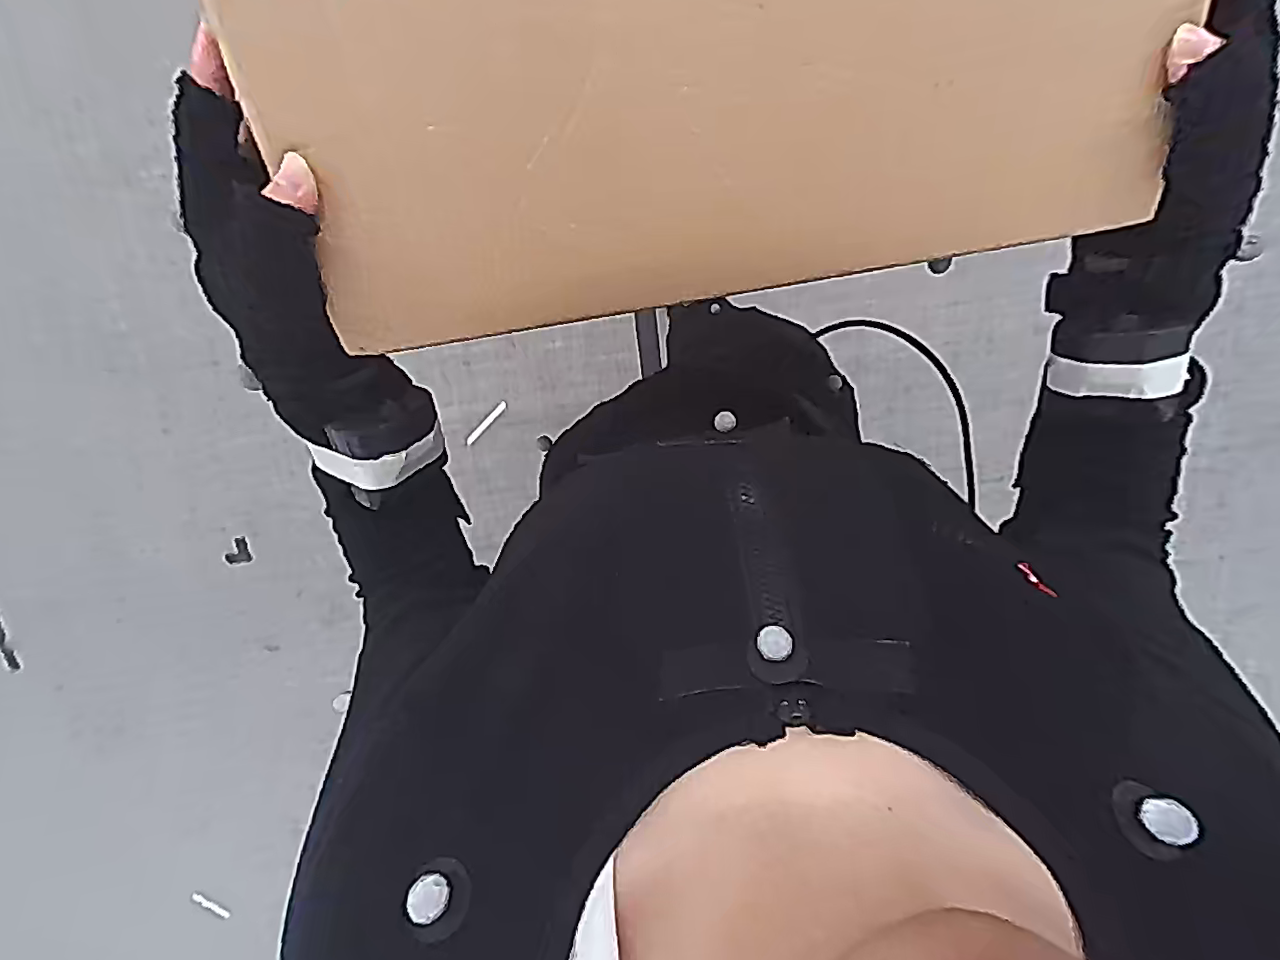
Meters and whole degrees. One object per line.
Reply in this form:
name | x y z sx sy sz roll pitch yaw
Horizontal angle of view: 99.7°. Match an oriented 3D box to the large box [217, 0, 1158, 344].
large box | 0.015 -0.307 0.344 0.408 0.320 0.320 -9 116 2
